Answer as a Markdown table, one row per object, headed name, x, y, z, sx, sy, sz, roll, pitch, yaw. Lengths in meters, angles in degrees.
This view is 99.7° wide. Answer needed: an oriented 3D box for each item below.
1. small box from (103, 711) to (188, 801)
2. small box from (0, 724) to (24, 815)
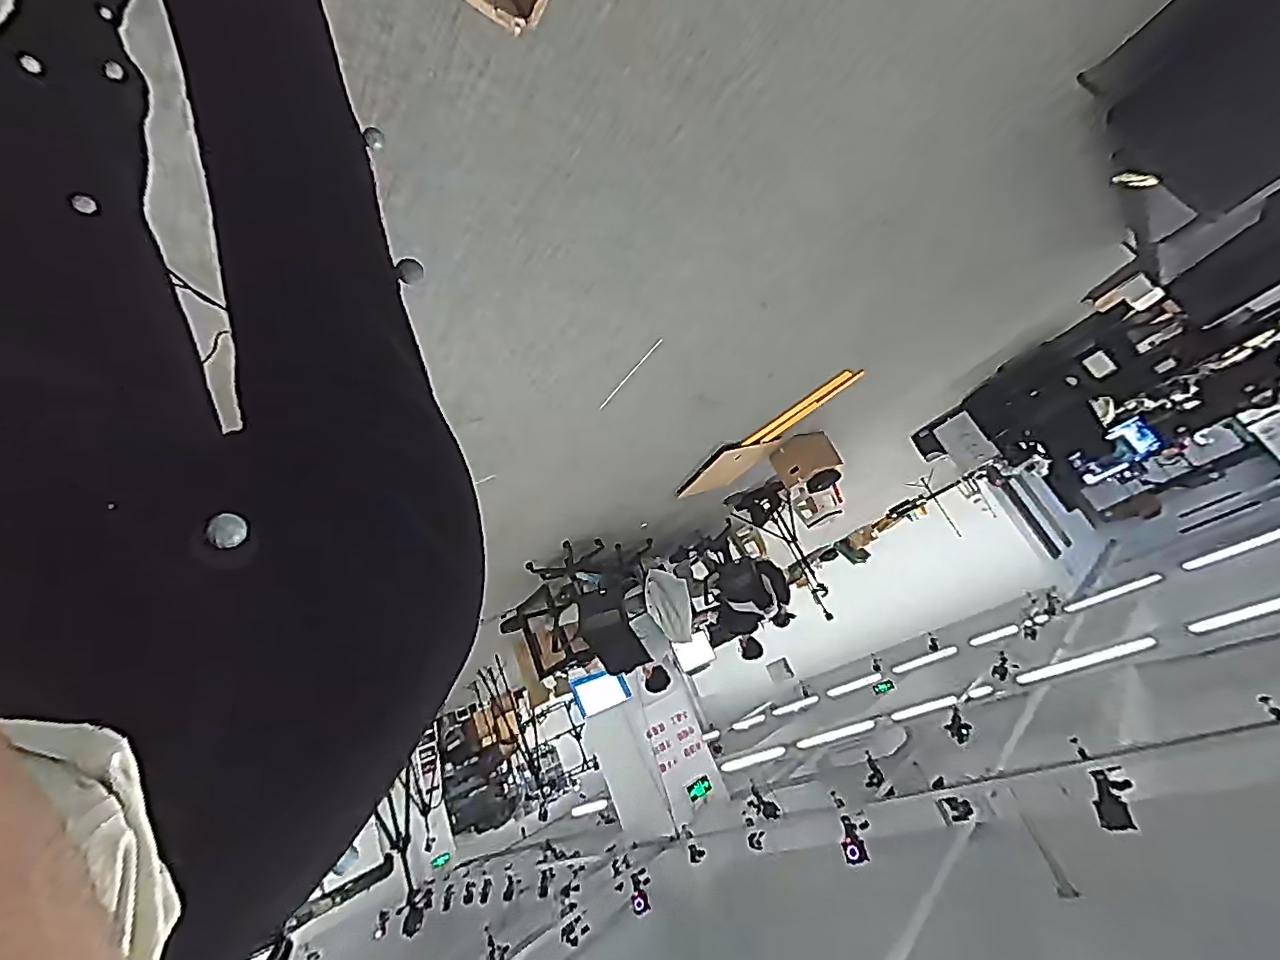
| name | x | y | z | sx | sy | sz | roll | pitch | yaw |
| --- | --- | --- | --- | --- | --- | --- | --- | --- | --- |
| small box | -1.429 | 0.789 | 1.562 | 0.168 | 0.176 | 0.179 | -4 | 152 | -45 |
| small box | -1.464 | 0.650 | 1.171 | 0.168 | 0.176 | 0.179 | -3 | 152 | -47 |
